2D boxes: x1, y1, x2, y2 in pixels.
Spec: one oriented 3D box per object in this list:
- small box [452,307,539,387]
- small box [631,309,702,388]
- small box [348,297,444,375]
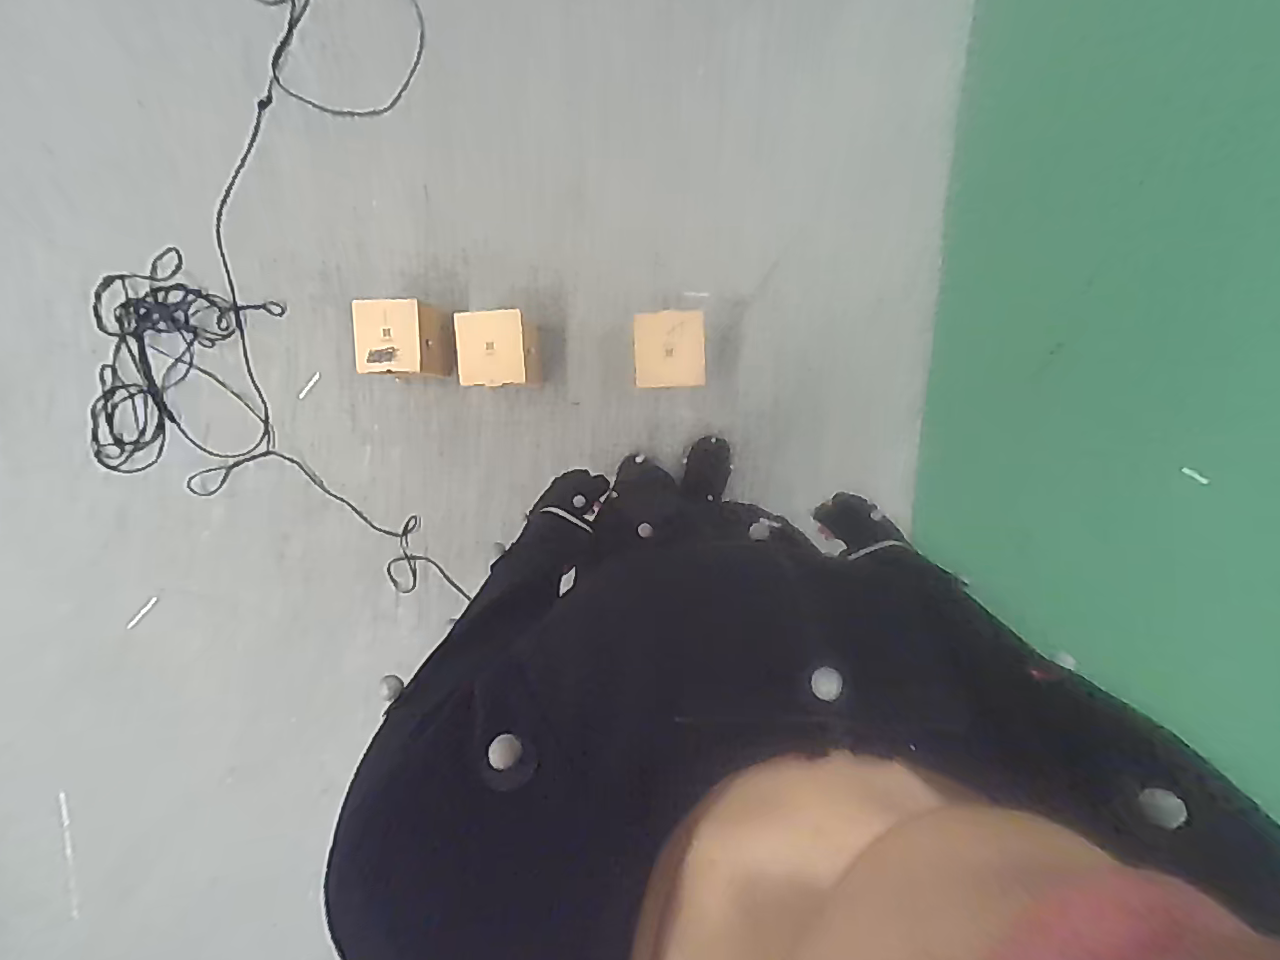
[{"bbox_3d":[-0.358,-0.329,1.365,0.168,0.176,0.179,-2,98,4],"label":"small box"},{"bbox_3d":[0.068,-0.319,1.341,0.168,0.176,0.179,-2,98,2],"label":"small box"},{"bbox_3d":[-0.612,-0.359,1.375,0.168,0.176,0.179,0,97,3],"label":"small box"}]
